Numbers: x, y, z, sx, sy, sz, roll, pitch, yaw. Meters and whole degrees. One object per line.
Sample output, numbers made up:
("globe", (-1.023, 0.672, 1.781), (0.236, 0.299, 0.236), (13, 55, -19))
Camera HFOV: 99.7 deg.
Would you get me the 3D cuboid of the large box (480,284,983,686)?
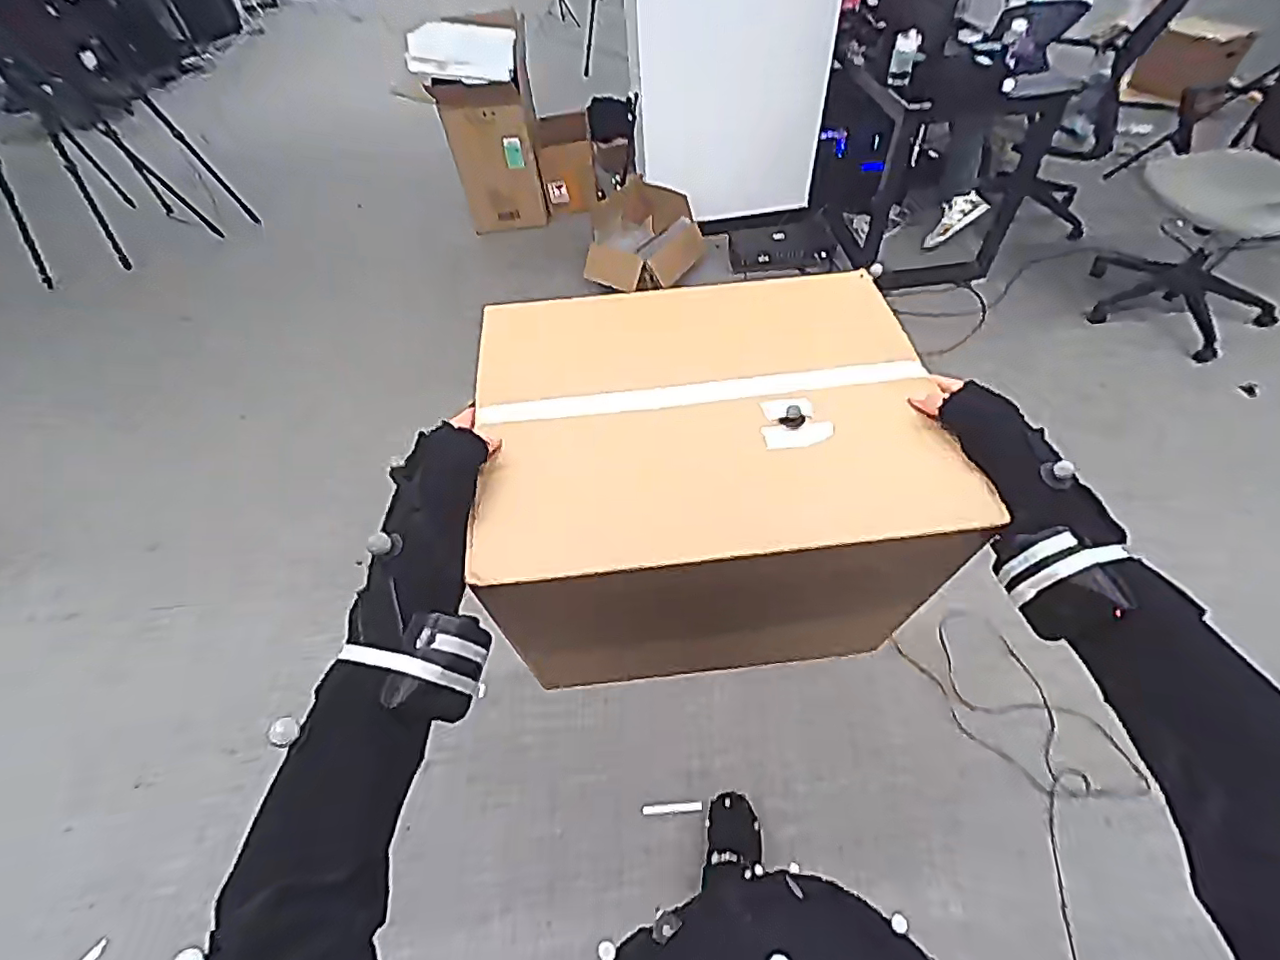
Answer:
("large box", (0.060, 0.016, 0.619), (0.408, 0.320, 0.320), (-6, 55, -2))
